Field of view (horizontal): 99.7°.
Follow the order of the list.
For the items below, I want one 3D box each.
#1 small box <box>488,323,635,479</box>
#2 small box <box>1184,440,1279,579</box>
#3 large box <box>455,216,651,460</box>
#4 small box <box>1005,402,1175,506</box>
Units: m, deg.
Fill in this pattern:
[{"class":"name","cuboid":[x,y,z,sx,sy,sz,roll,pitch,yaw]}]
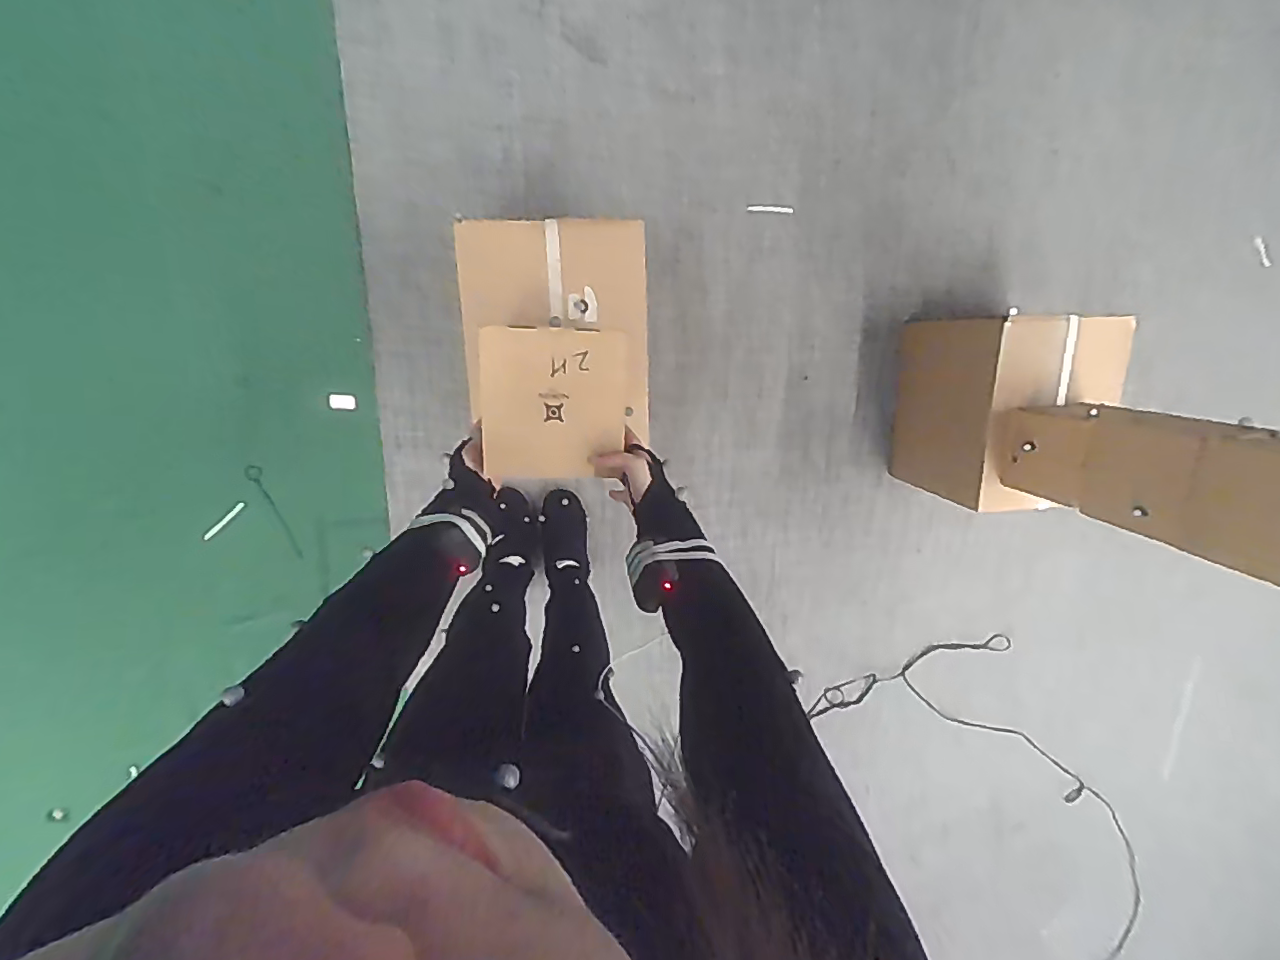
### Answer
[{"class":"small box","cuboid":[-0.103,-0.107,0.700,0.168,0.176,0.179,1,104,-10]},{"class":"small box","cuboid":[0.924,0.042,0.748,0.168,0.176,0.179,-2,107,-8]},{"class":"large box","cuboid":[-0.160,-0.273,1.074,0.320,0.320,0.408,-4,105,-9]},{"class":"small box","cuboid":[0.866,-0.058,1.056,0.179,0.176,0.168,-5,106,-7]}]
